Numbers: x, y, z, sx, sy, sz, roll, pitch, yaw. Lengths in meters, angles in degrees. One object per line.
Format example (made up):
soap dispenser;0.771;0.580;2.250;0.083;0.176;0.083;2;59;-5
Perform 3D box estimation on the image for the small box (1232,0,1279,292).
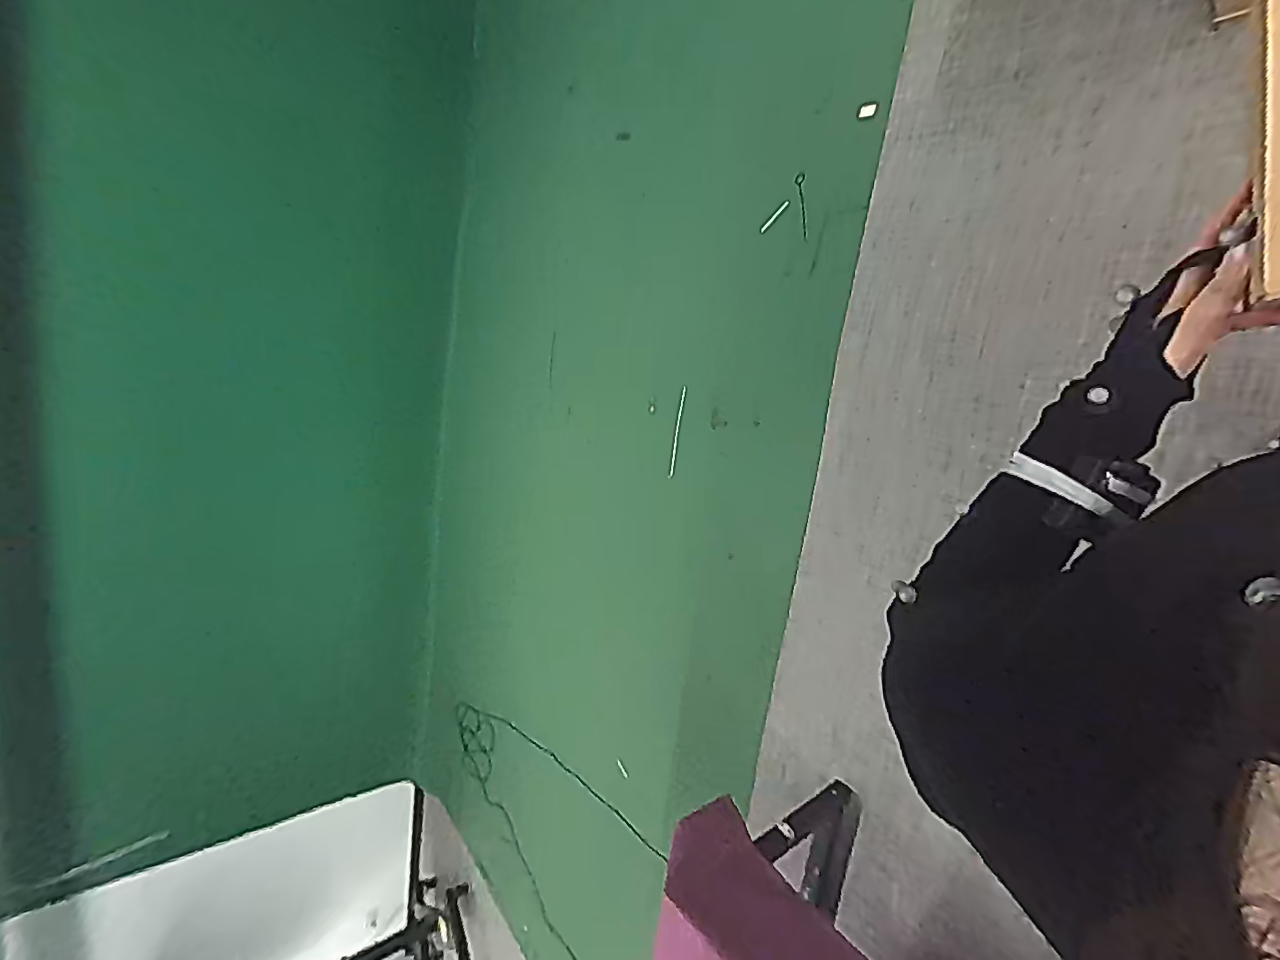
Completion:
small box;0.434;-0.208;0.281;0.168;0.176;0.179;0;101;46
